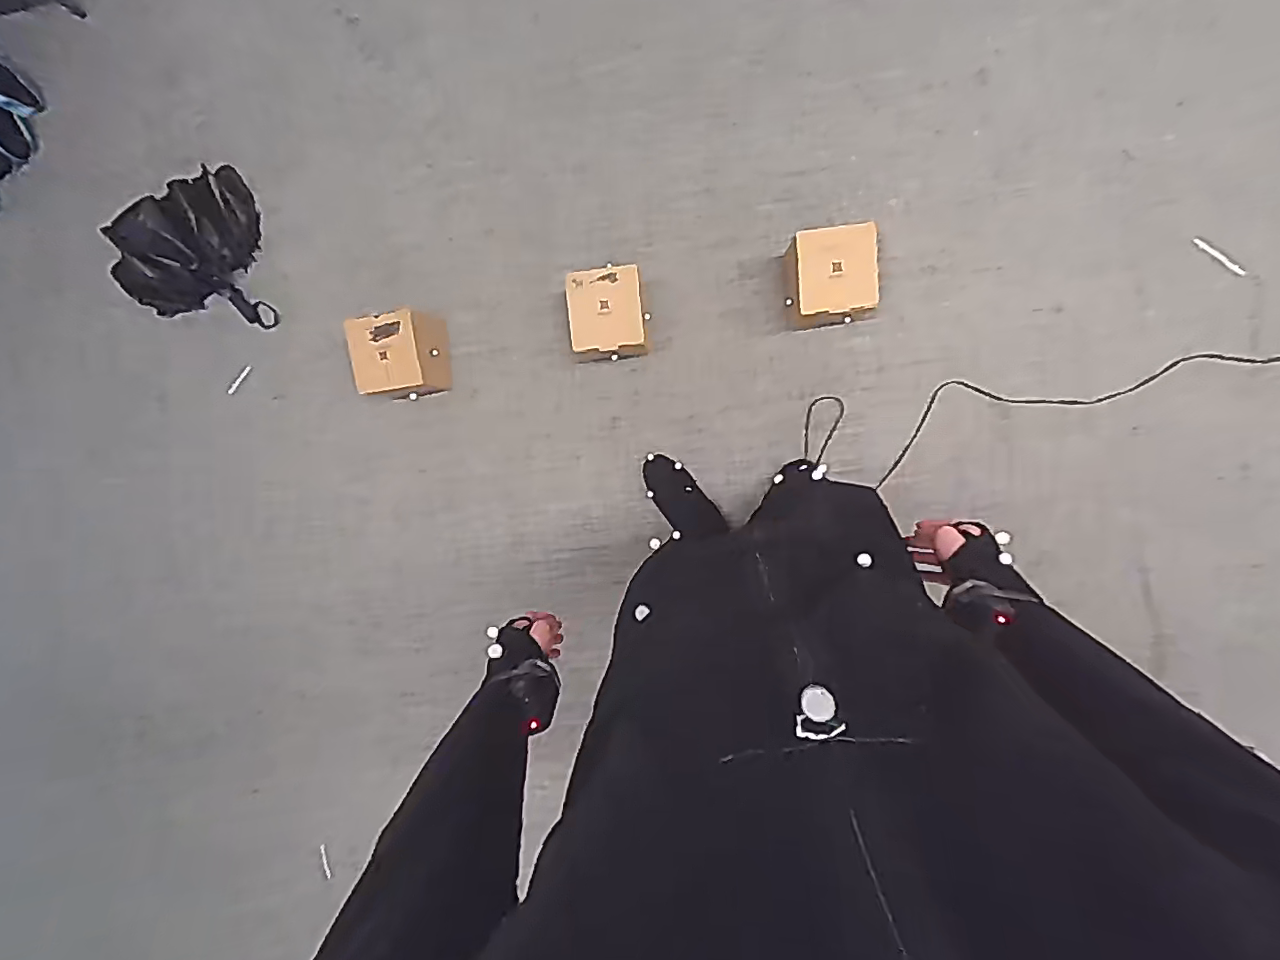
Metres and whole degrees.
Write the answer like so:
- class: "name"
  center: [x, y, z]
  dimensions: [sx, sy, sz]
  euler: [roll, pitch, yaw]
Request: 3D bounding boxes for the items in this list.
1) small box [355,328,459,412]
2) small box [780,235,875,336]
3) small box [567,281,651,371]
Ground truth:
- class: "small box"
  center: [-0.580, -0.270, 1.364]
  dimensions: [0.168, 0.176, 0.179]
  euler: [-9, 96, 7]
- class: "small box"
  center: [0.423, -0.434, 1.240]
  dimensions: [0.168, 0.176, 0.179]
  euler: [-7, 94, 6]
- class: "small box"
  center: [-0.068, -0.360, 1.301]
  dimensions: [0.168, 0.176, 0.179]
  euler: [-6, 95, 7]
